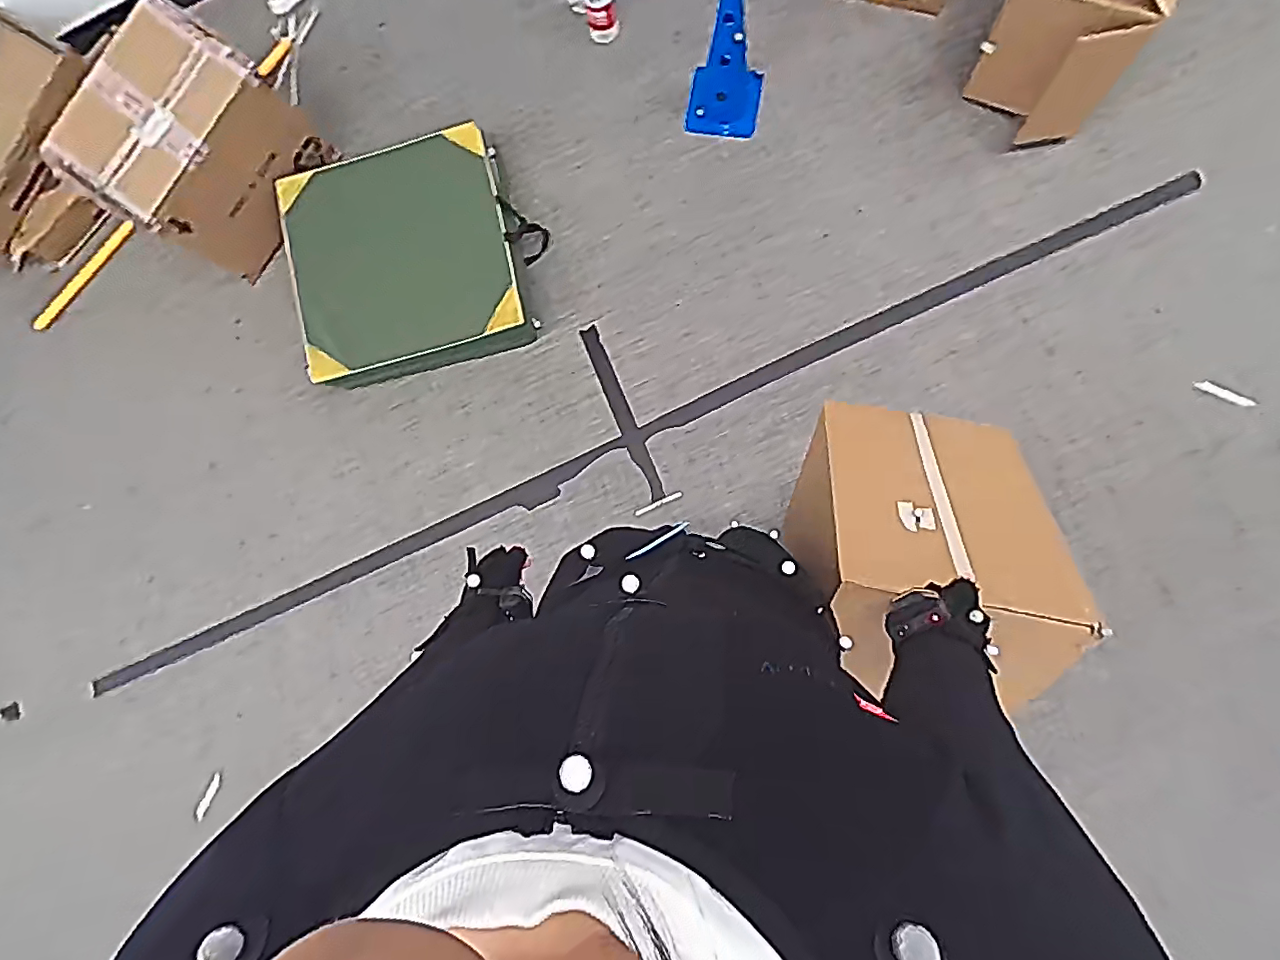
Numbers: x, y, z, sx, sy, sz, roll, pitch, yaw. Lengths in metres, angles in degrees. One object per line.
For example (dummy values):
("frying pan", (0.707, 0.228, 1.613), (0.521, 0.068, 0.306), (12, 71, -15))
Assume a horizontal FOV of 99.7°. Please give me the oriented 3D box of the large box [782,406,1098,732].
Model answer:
("large box", (0.429, 0.135, 0.906), (0.320, 0.320, 0.408), (10, 45, 6))
